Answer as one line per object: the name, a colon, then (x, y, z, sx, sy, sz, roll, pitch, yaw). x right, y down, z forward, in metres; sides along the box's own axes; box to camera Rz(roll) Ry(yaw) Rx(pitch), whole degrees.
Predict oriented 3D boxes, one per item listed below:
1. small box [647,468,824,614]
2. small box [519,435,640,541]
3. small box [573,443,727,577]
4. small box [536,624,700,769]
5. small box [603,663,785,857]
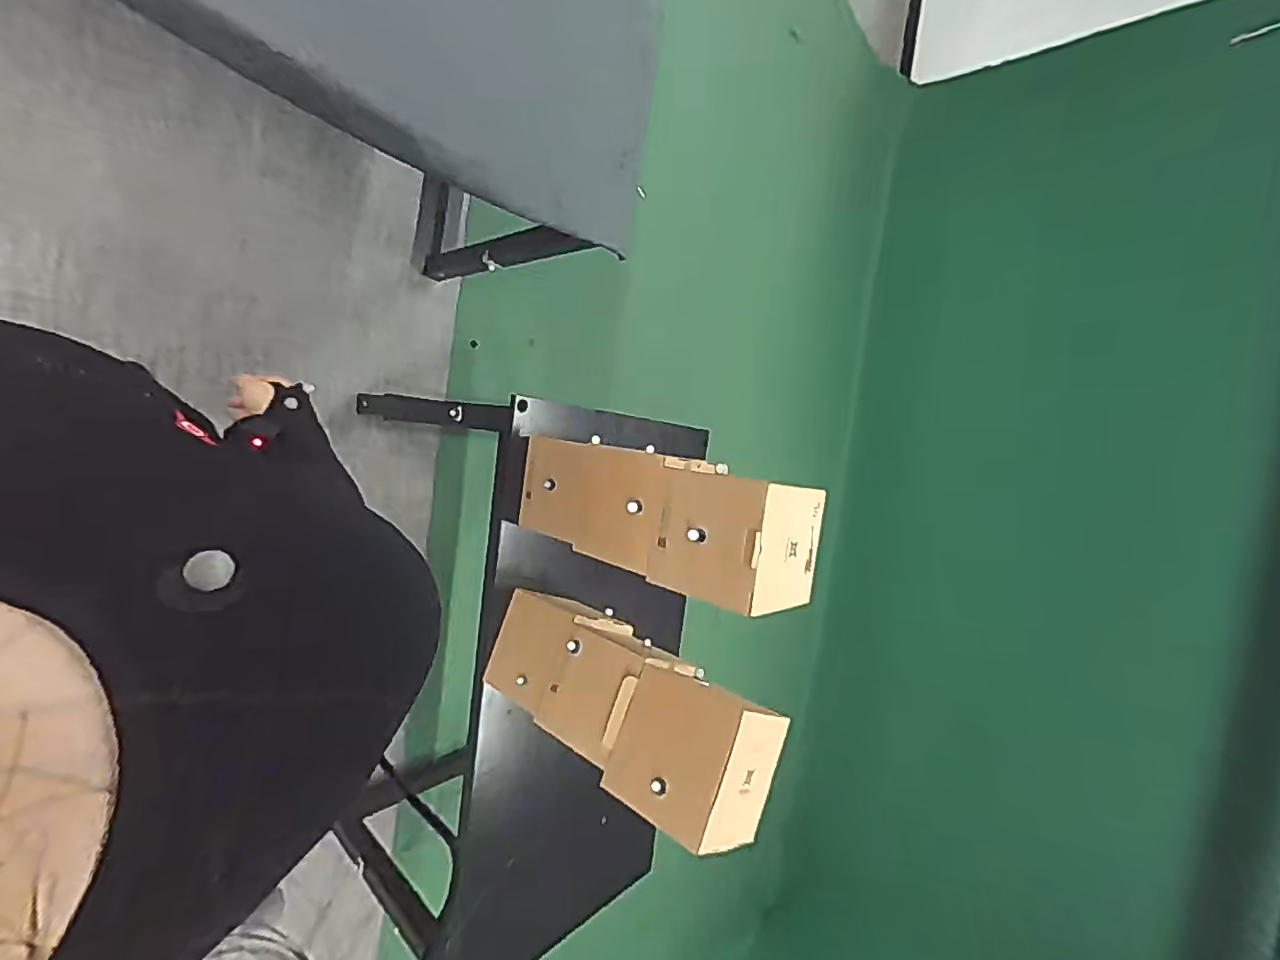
small box: (0.131, 0.077, 0.754, 0.179, 0.176, 0.168, 6, 93, -48)
small box: (-0.096, 0.013, 0.980, 0.179, 0.176, 0.168, 4, 96, -49)
small box: (0.012, 0.043, 0.862, 0.168, 0.176, 0.179, 4, 95, -48)
small box: (-0.037, 0.344, 0.873, 0.179, 0.176, 0.168, 32, 76, -48)
small box: (0.073, 0.381, 0.758, 0.168, 0.176, 0.179, 35, 73, -48)
